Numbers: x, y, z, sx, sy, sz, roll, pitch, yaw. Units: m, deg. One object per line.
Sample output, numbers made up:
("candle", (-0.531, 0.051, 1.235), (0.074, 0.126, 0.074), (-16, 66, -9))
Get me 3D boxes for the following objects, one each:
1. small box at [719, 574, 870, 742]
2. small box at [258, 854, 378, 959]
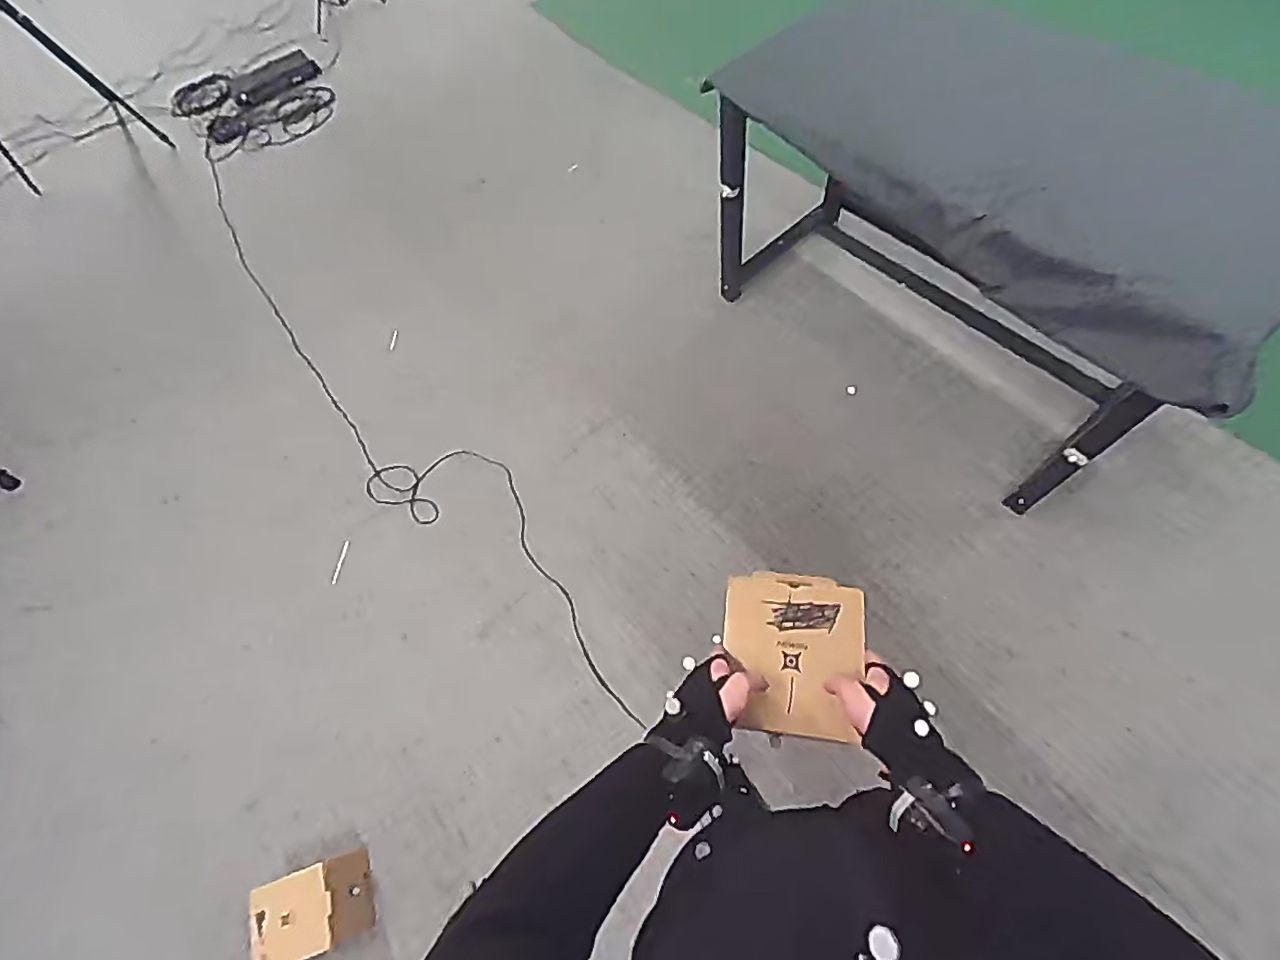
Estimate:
("small box", (0.190, 0.234, 0.703), (0.168, 0.176, 0.179), (2, 66, 11))
("small box", (-0.722, 0.986, 1.229), (0.179, 0.176, 0.168), (-22, 64, -2))
